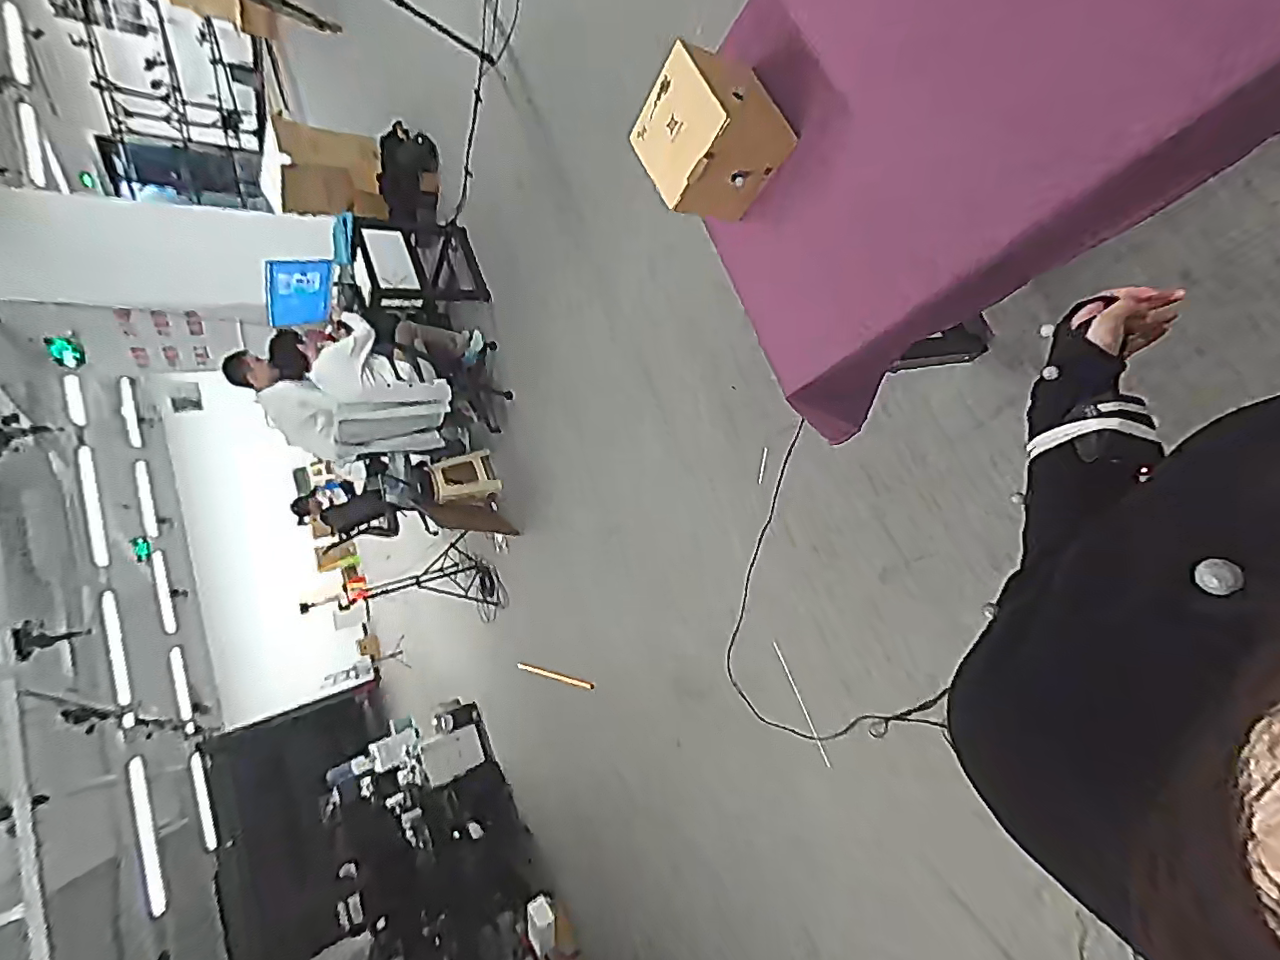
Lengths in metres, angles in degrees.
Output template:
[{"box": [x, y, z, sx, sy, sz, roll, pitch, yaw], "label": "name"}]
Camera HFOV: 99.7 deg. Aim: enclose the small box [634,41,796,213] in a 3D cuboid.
[{"box": [0.126, -0.574, 0.904, 0.168, 0.176, 0.179, -43, 67, 49], "label": "small box"}]
